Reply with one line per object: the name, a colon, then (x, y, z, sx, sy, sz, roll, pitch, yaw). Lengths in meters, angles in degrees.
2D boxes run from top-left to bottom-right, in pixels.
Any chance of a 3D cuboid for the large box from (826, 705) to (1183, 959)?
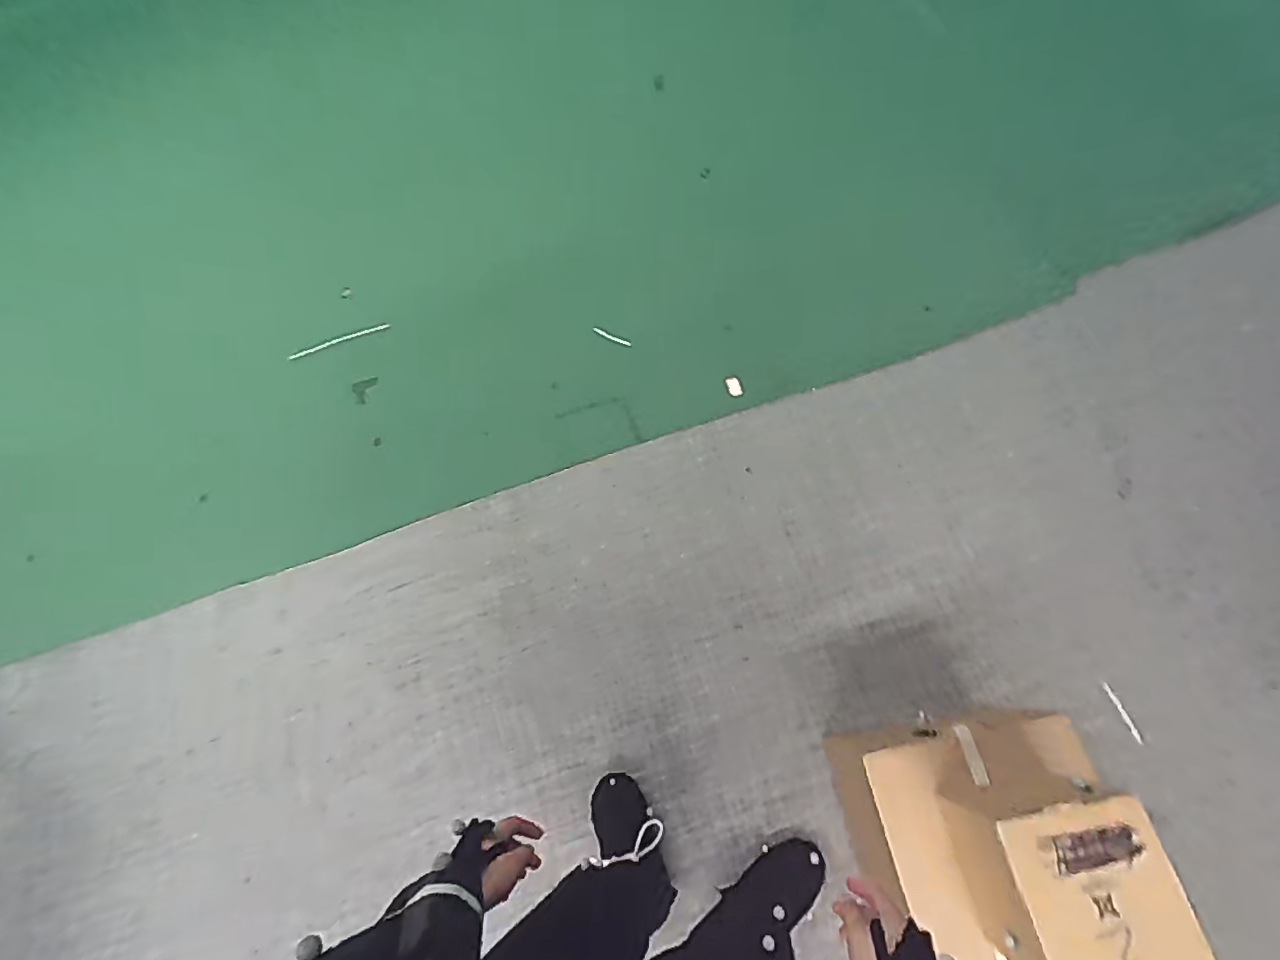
large box: (0.538, 0.608, 0.865, 0.320, 0.320, 0.408, -13, 68, 3)
